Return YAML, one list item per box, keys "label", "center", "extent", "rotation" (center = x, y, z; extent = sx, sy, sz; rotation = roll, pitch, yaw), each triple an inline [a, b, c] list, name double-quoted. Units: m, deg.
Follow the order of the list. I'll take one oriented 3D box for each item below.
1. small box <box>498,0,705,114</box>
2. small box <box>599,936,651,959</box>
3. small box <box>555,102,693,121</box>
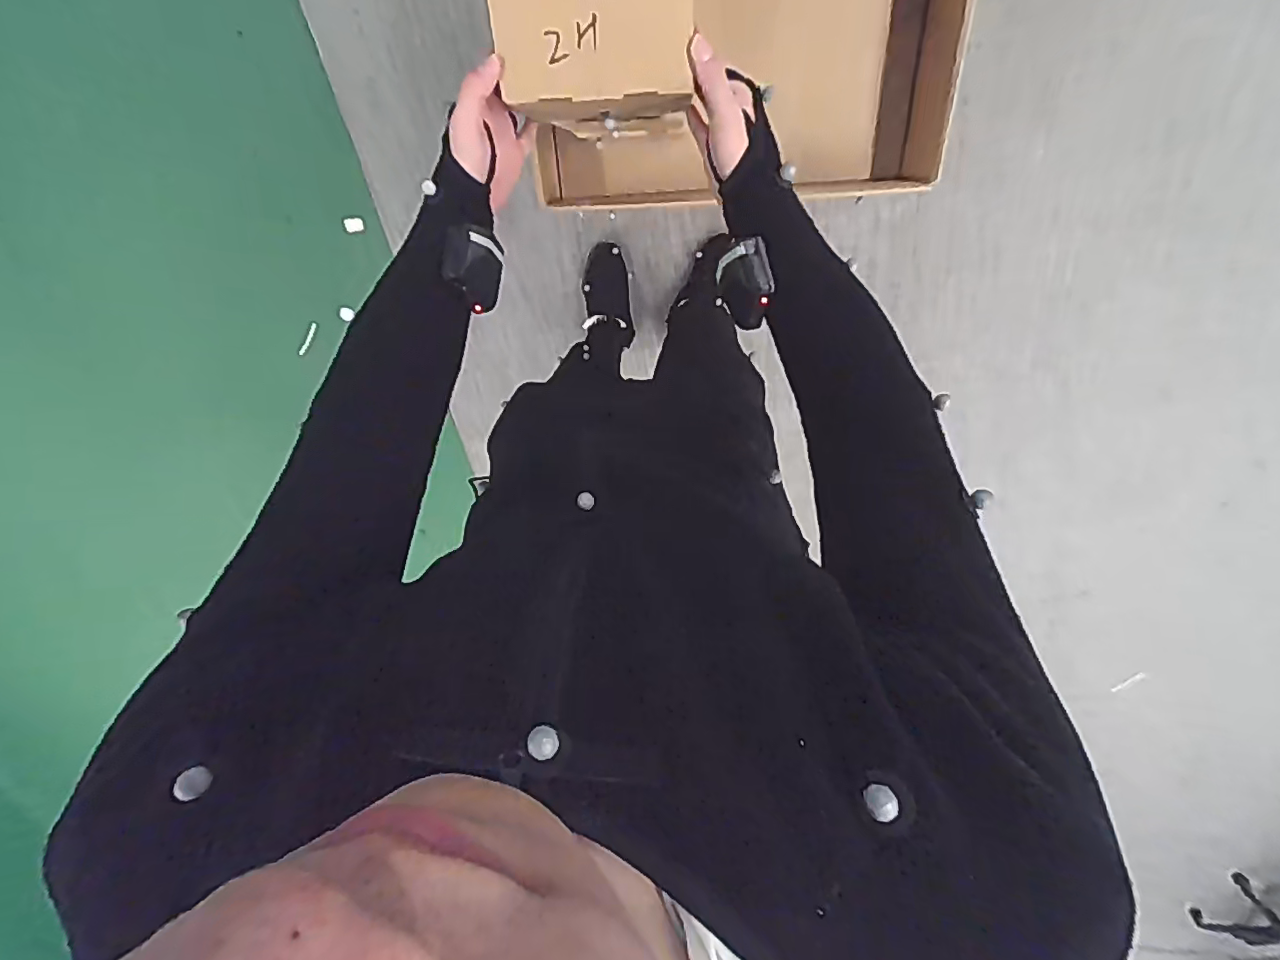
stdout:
- label: "small box"
  center: [-0.029, -0.438, 0.480]
  extent: [0.168, 0.176, 0.179]
  rotation: [-1, 122, 3]
- label: "small box"
  center: [-0.054, 1.781, 1.949]
  extent: [0.168, 0.176, 0.179]
  rotation: [-7, 122, 6]
- label: "small box"
  center: [-0.021, -0.540, 0.648]
  extent: [0.168, 0.176, 0.179]
  rotation: [0, 123, 3]
